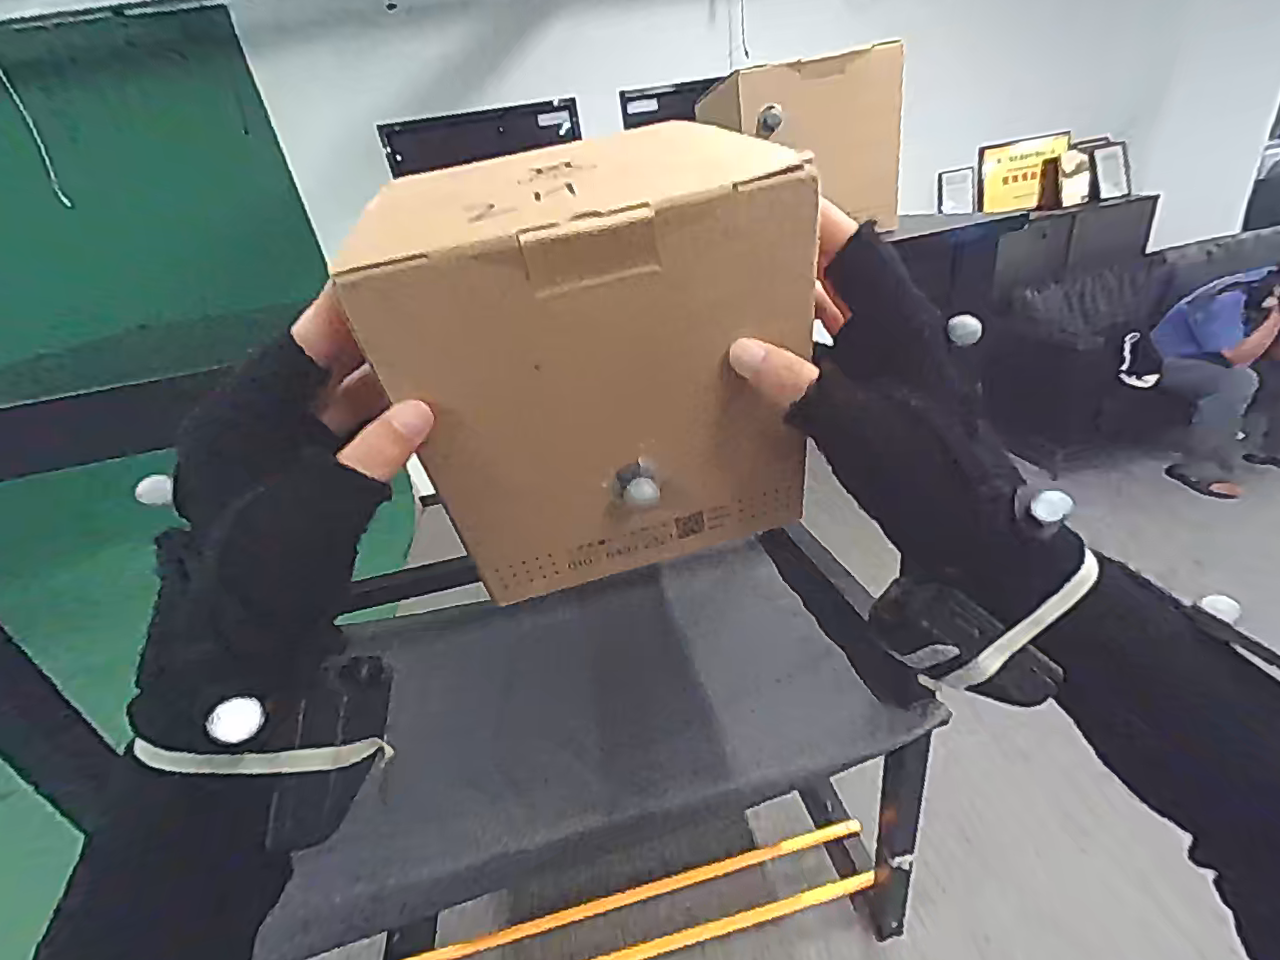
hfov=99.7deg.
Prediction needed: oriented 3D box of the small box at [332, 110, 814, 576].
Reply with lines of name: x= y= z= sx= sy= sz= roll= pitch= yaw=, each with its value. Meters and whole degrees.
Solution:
small box: x=-0.025 y=-0.080 z=0.291 sx=0.168 sy=0.176 sz=0.179 roll=-16 pitch=39 yaw=-4
